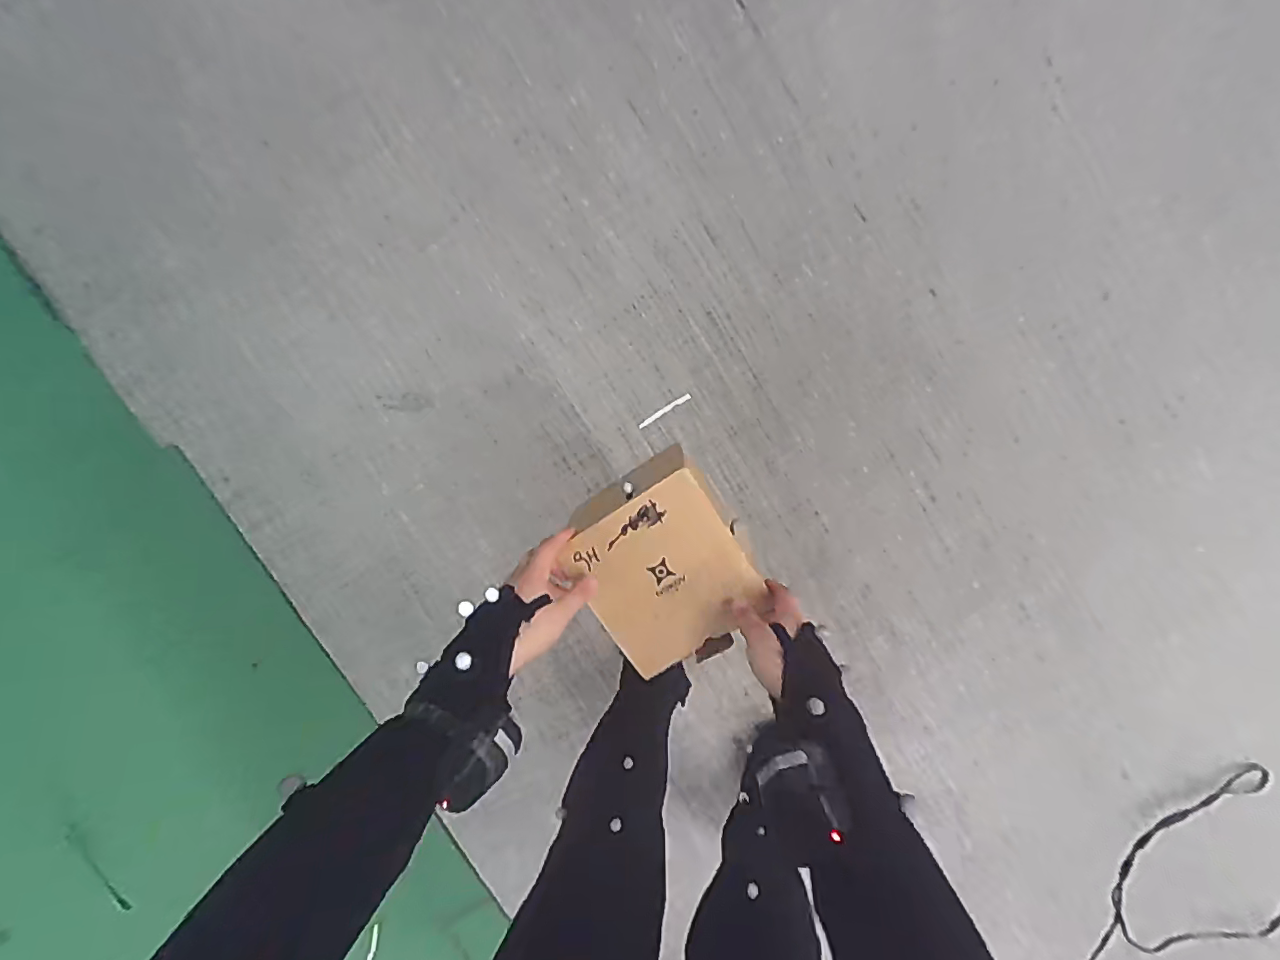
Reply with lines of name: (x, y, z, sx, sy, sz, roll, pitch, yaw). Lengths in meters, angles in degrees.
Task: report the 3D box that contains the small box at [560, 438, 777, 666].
small box: (0.034, 0.071, 0.630, 0.168, 0.176, 0.179, -32, 101, 9)
